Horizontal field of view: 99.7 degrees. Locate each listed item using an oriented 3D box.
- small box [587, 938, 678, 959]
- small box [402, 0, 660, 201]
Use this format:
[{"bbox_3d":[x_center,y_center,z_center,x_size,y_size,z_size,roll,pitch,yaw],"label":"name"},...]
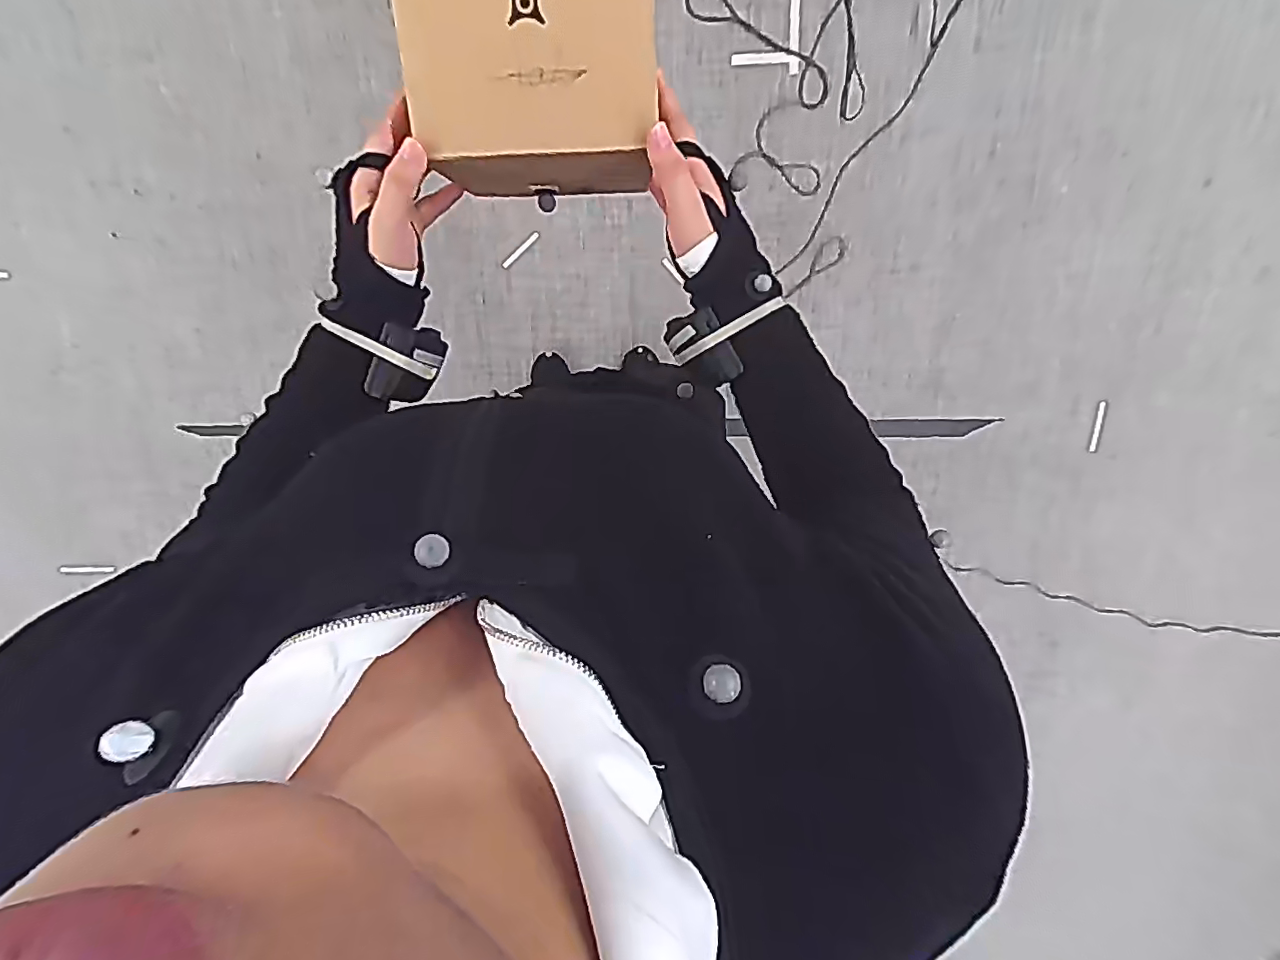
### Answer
[{"bbox_3d":[-0.011,0.940,0.937,0.168,0.176,0.179,-2,106,0],"label":"small box"},{"bbox_3d":[-0.073,-0.330,0.420,0.168,0.176,0.179,-3,109,-1],"label":"small box"}]
